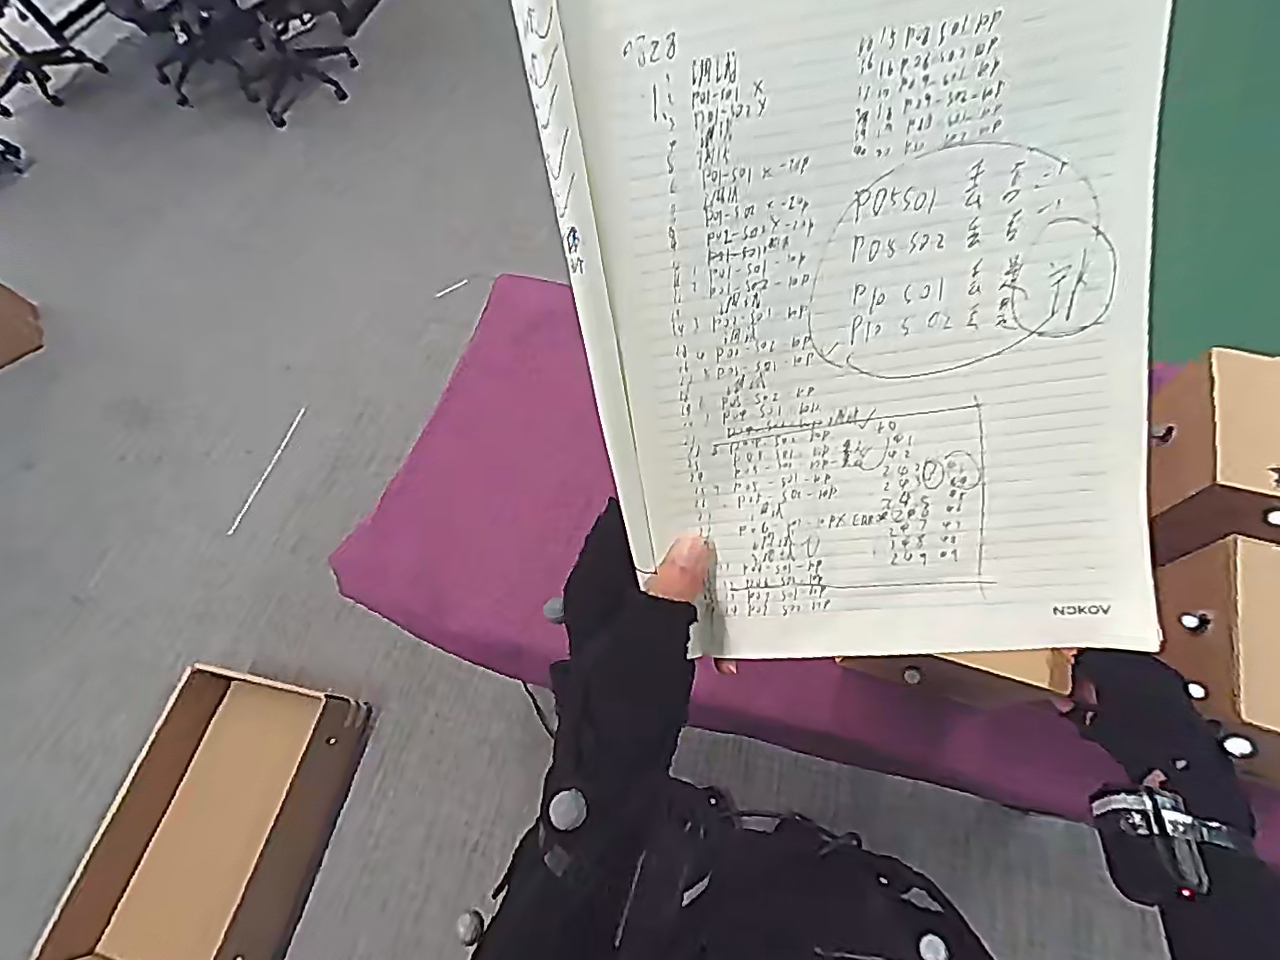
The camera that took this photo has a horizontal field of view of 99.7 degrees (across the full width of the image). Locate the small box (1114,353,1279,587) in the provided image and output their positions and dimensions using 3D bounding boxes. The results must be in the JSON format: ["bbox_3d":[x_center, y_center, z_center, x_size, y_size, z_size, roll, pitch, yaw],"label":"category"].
[{"bbox_3d":[0.672,-0.006,0.599,0.168,0.176,0.179,16,66,16],"label":"small box"}]

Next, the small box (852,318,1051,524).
[{"bbox_3d":[0.374,-0.069,0.673,0.168,0.176,0.179,12,66,14],"label":"small box"}]
